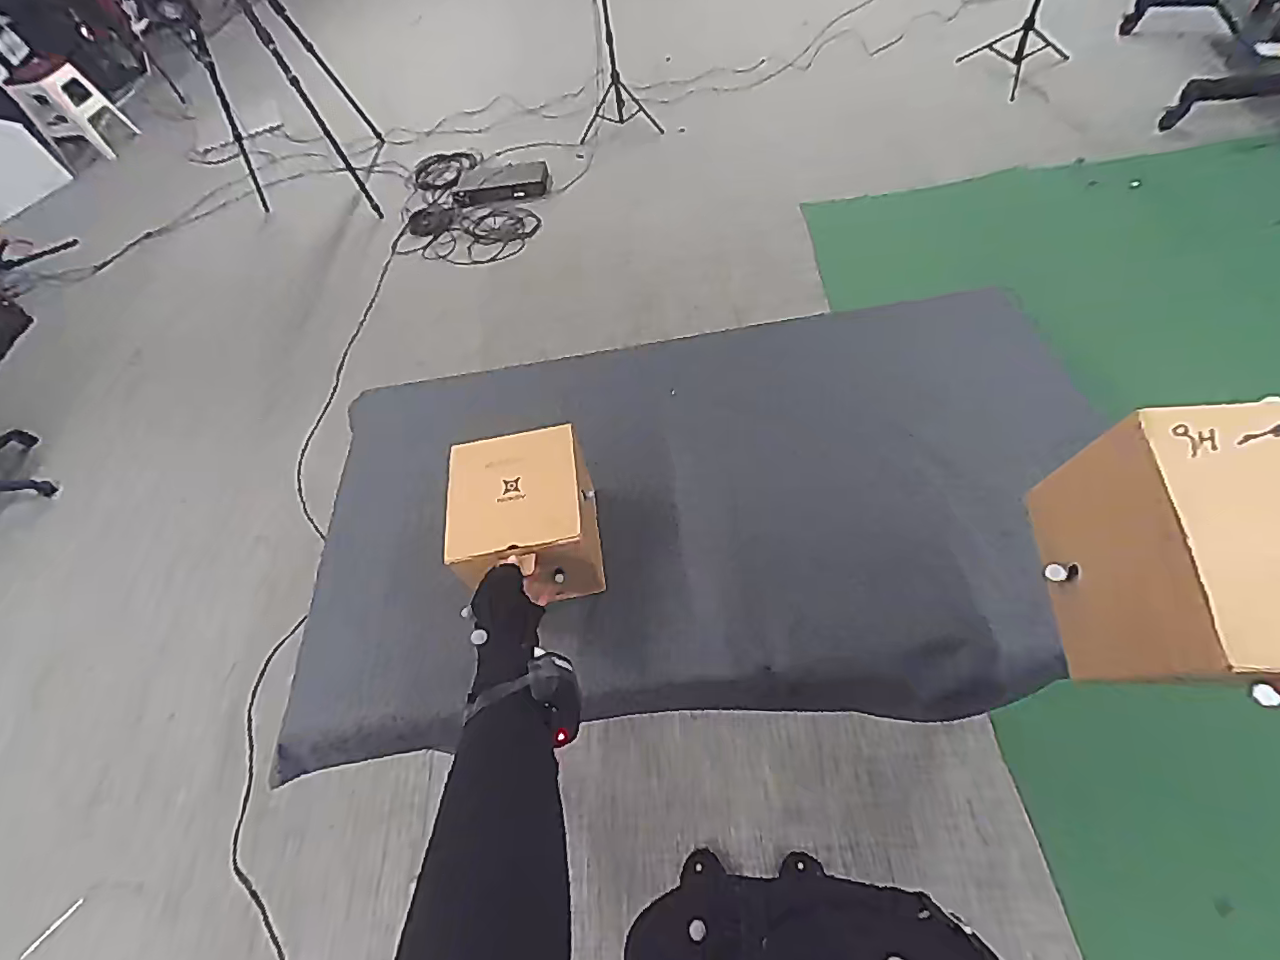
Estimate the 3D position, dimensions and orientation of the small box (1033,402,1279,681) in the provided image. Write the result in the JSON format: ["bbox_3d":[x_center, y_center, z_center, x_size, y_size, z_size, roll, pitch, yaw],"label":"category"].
[{"bbox_3d":[0.437,0.057,0.404,0.168,0.176,0.179,-2,69,10],"label":"small box"}]

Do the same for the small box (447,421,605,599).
[{"bbox_3d":[-0.147,0.050,0.737,0.168,0.176,0.179,-11,55,0],"label":"small box"}]
